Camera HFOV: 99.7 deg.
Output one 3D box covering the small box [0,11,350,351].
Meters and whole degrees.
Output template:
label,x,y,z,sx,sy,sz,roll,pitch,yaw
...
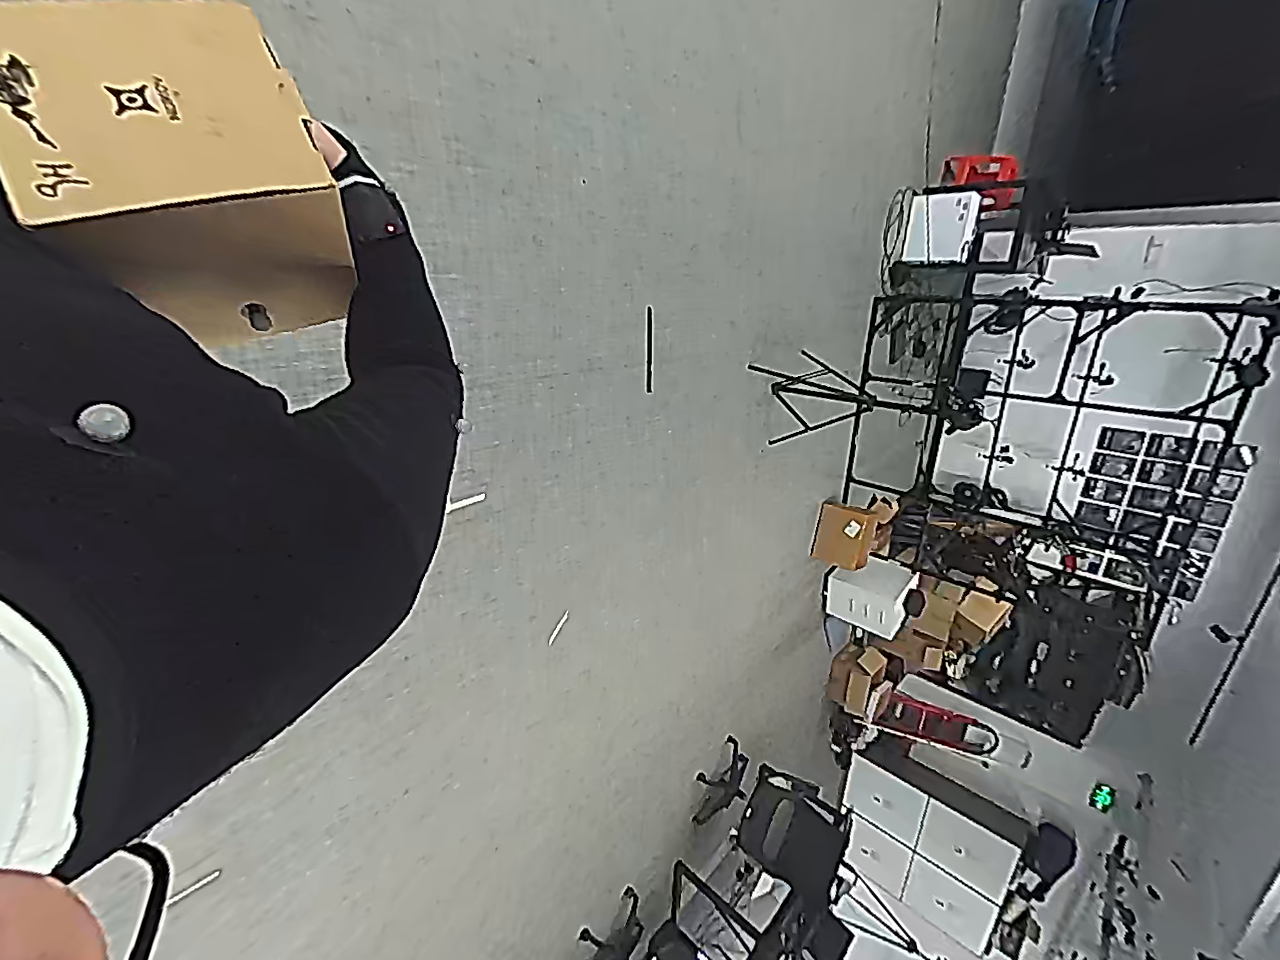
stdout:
label,x,y,z,sx,sy,sz,roll,pitch,yaw
small box,-0.360,-0.233,0.447,0.179,0.176,0.168,-24,83,-26
